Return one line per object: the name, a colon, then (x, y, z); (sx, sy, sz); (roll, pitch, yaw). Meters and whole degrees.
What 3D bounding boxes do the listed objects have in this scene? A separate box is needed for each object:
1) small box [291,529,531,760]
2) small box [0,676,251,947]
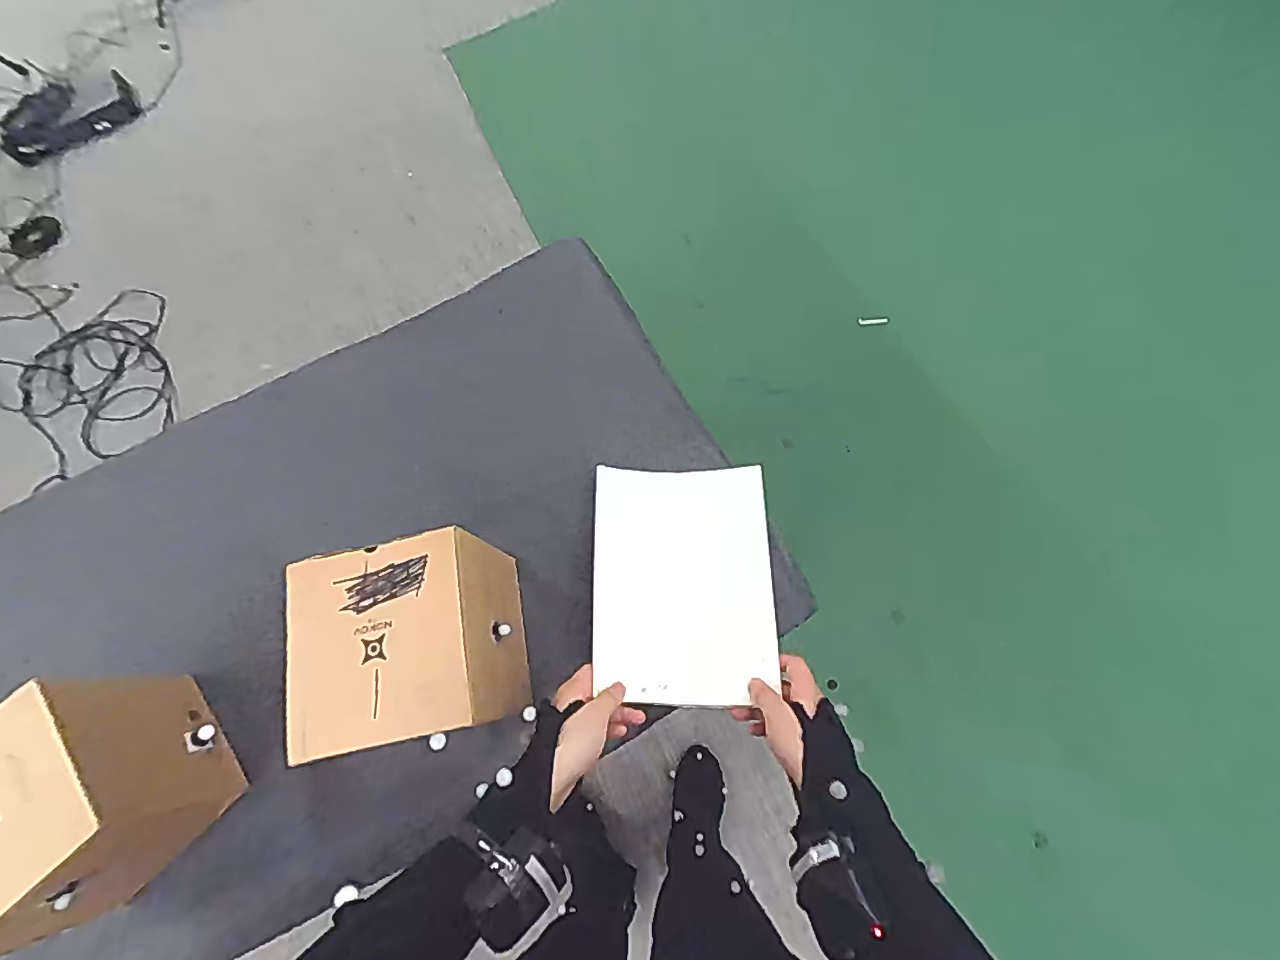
small box: (-0.224, 0.168, 0.559); (0.168, 0.176, 0.179); (-14, 71, 3)
small box: (-0.562, 0.325, 0.553); (0.179, 0.176, 0.168); (-43, 73, -9)
